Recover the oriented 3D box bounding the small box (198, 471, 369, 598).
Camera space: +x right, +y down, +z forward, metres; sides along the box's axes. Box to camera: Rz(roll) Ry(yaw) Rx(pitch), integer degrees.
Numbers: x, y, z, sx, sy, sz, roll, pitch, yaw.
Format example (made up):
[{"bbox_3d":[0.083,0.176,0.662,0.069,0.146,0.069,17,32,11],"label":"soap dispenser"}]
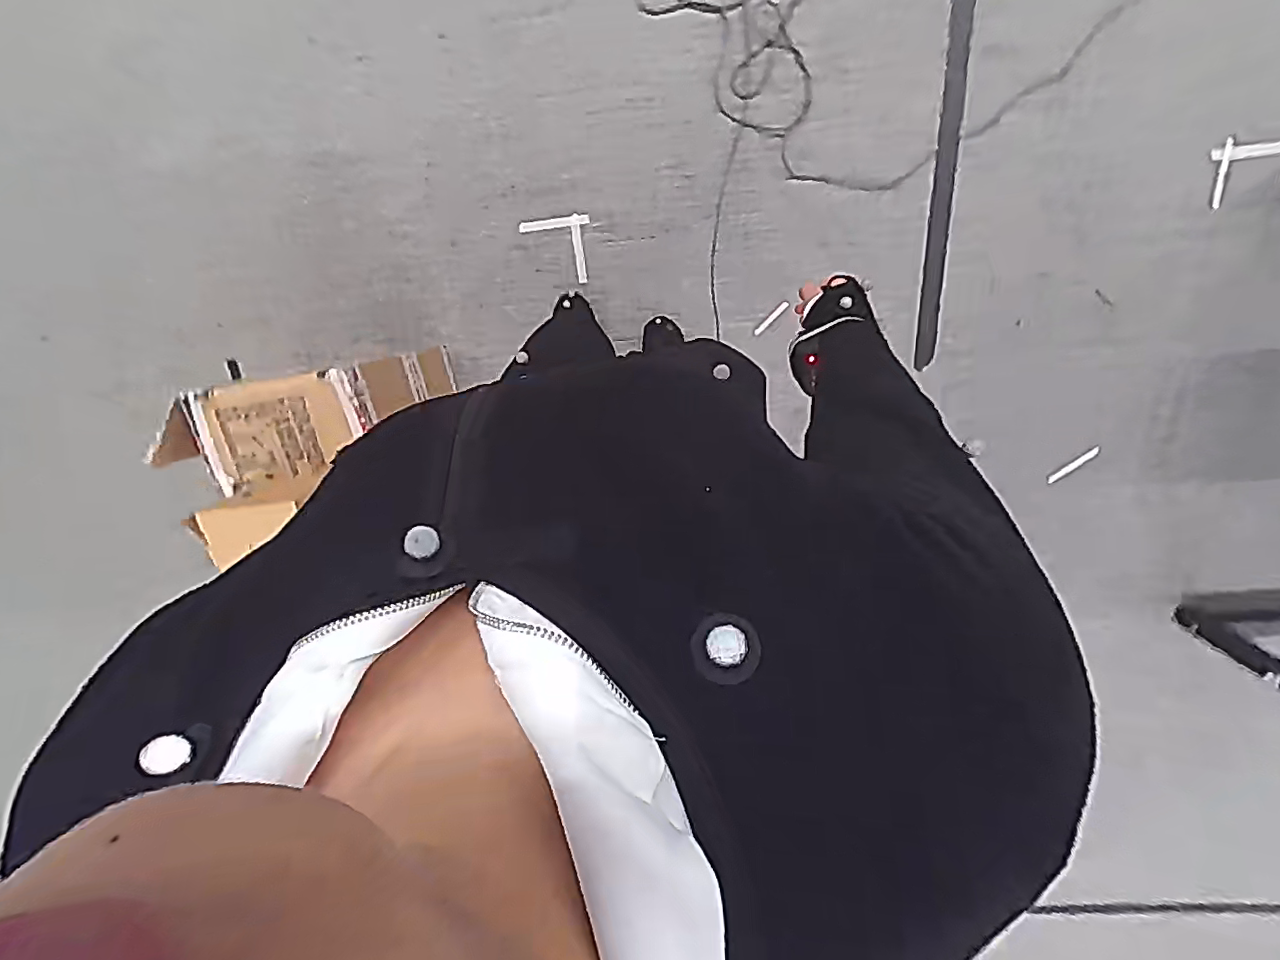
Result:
[{"bbox_3d":[-0.637,0.093,0.992,0.179,0.176,0.168,-9,110,1],"label":"small box"}]
